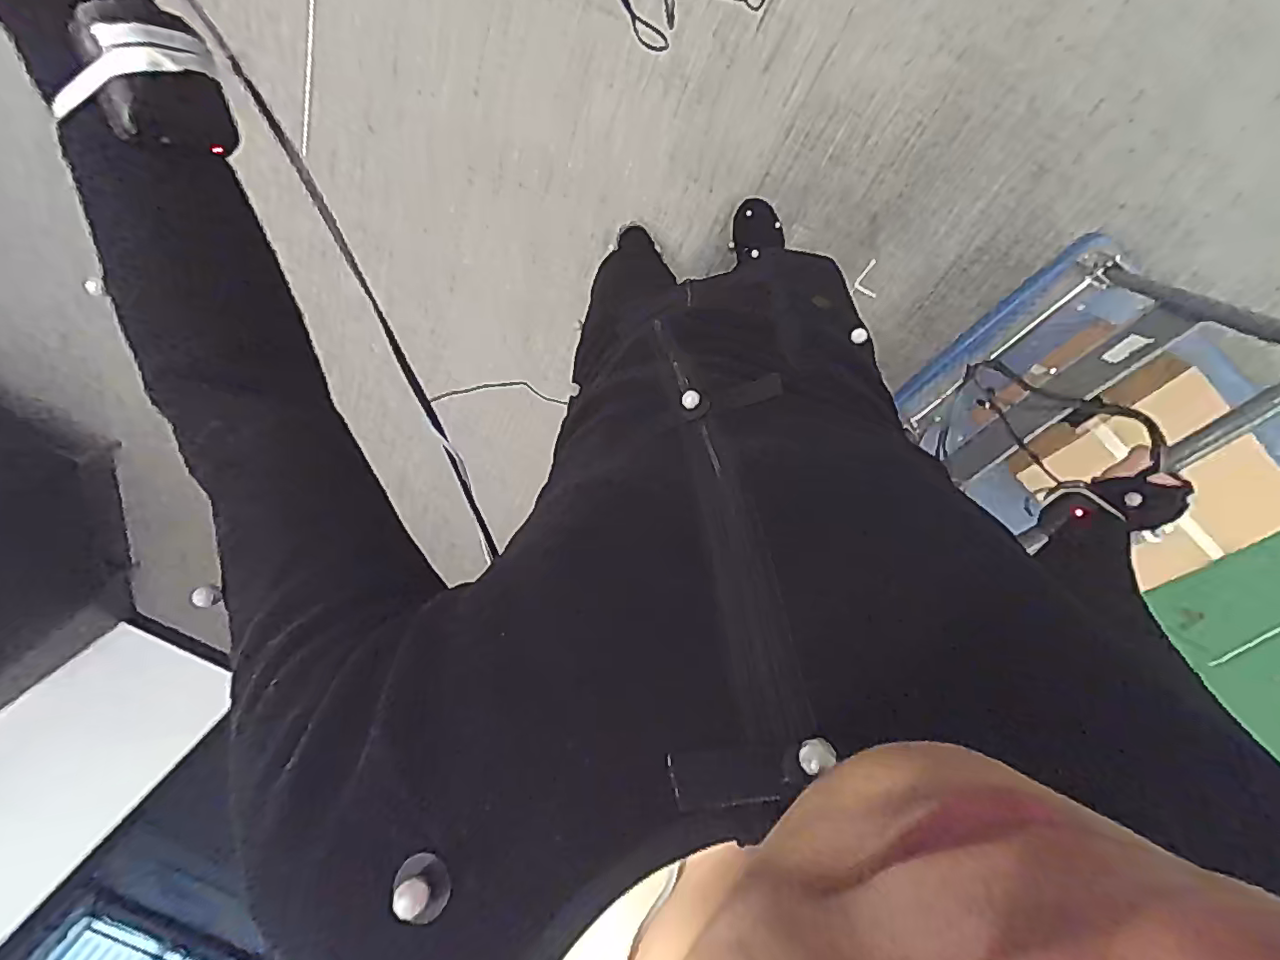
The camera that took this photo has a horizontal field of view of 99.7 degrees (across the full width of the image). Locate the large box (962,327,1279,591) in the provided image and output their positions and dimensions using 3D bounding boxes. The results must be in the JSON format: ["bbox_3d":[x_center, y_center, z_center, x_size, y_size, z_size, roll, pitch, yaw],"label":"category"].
[{"bbox_3d":[0.992,-0.052,1.156,0.408,0.320,0.320,40,121,-11],"label":"large box"}]
